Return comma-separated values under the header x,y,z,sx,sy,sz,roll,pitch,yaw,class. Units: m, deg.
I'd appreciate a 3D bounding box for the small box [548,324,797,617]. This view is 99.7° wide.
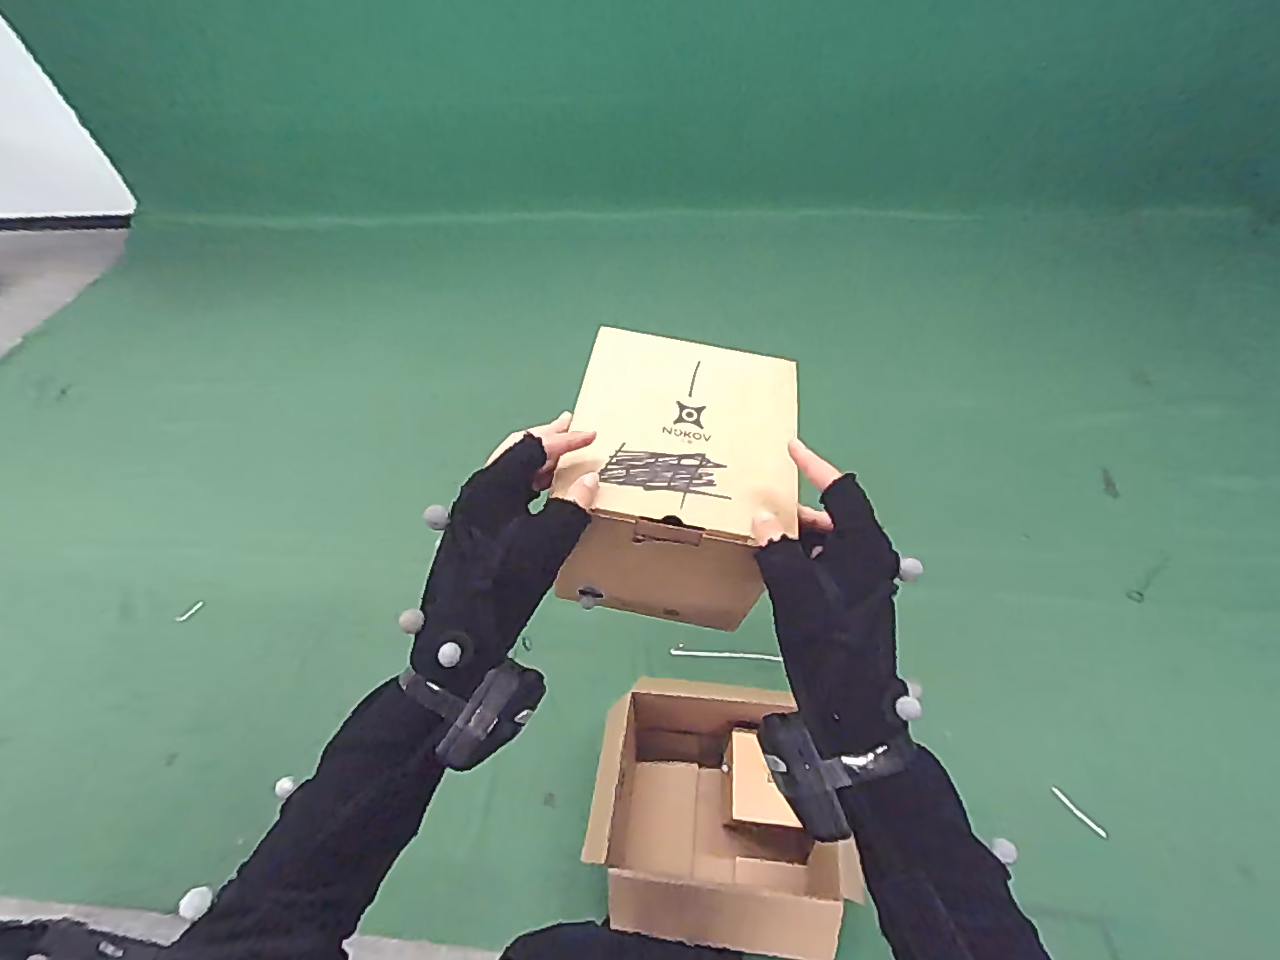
x,y,z,sx,sy,sz,roll,pitch,yaw,class
0.028,0.000,0.464,0.168,0.176,0.179,11,56,1,small box
